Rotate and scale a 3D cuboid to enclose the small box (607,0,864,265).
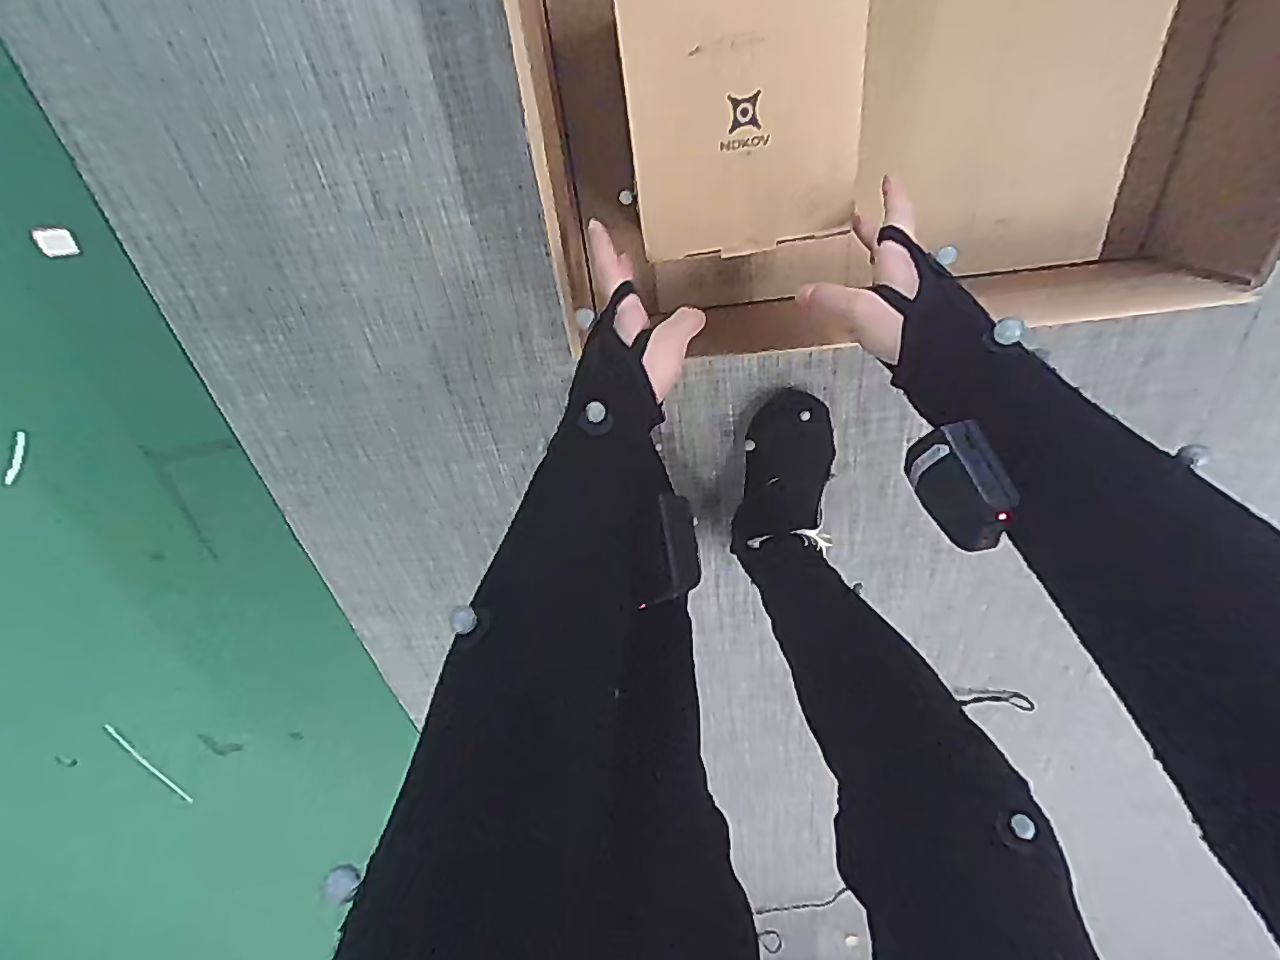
[{"bbox_3d":[0.070,-0.296,0.450,0.168,0.176,0.179,-7,122,4],"label":"small box"}]
